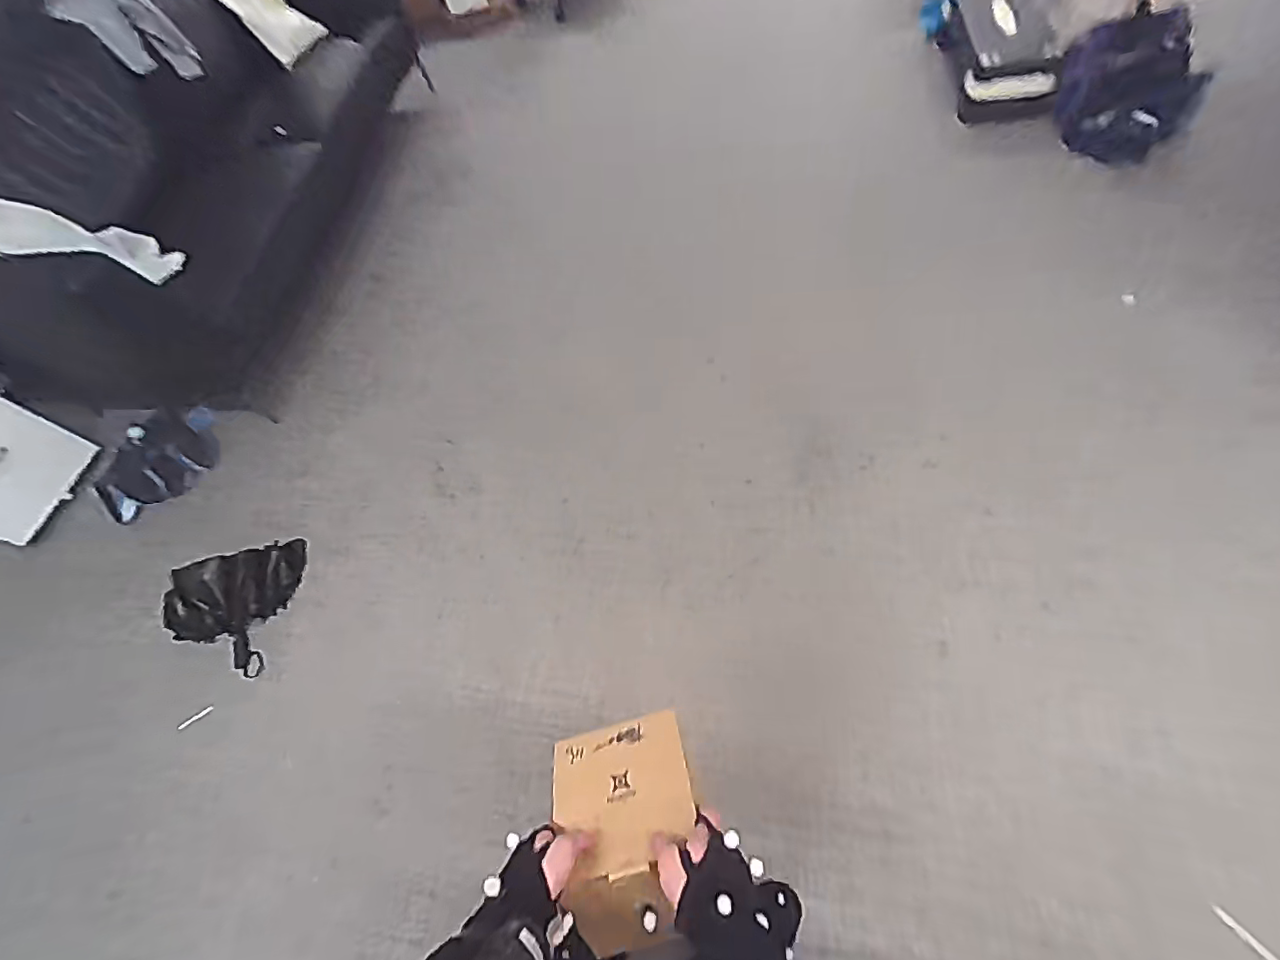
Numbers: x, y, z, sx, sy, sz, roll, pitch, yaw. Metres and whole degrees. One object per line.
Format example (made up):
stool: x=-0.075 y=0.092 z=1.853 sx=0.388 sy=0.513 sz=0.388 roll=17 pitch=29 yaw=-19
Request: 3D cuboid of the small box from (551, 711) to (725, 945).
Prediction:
small box: x=-0.004 y=0.431 z=0.669 sx=0.168 sy=0.176 sz=0.179 roll=-16 pitch=28 yaw=0
